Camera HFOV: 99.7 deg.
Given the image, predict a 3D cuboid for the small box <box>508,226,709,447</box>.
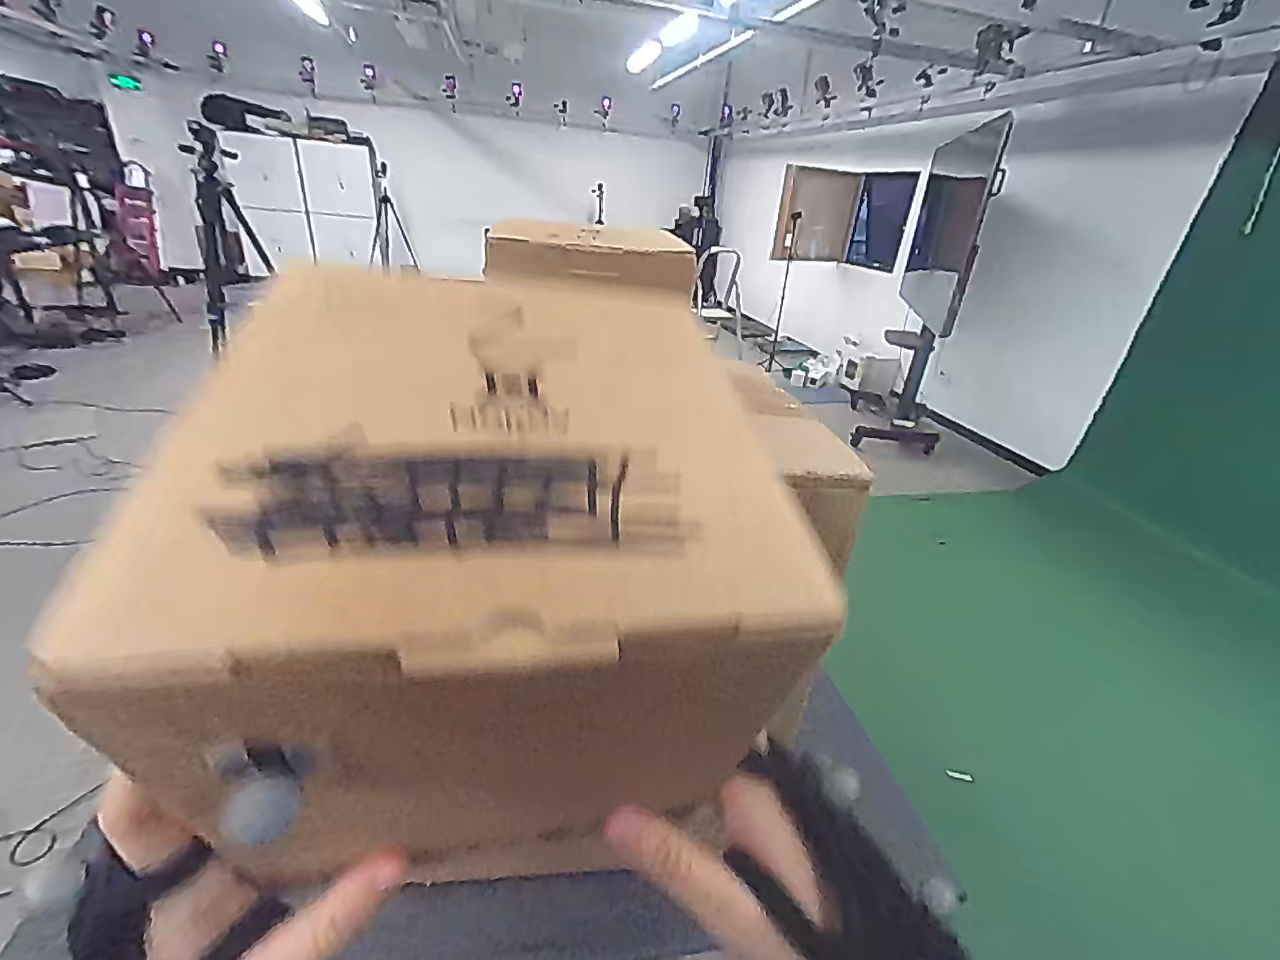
[{"bbox_3d":[-0.041,-0.147,0.542,0.168,0.176,0.179,1,30,-9],"label":"small box"}]
